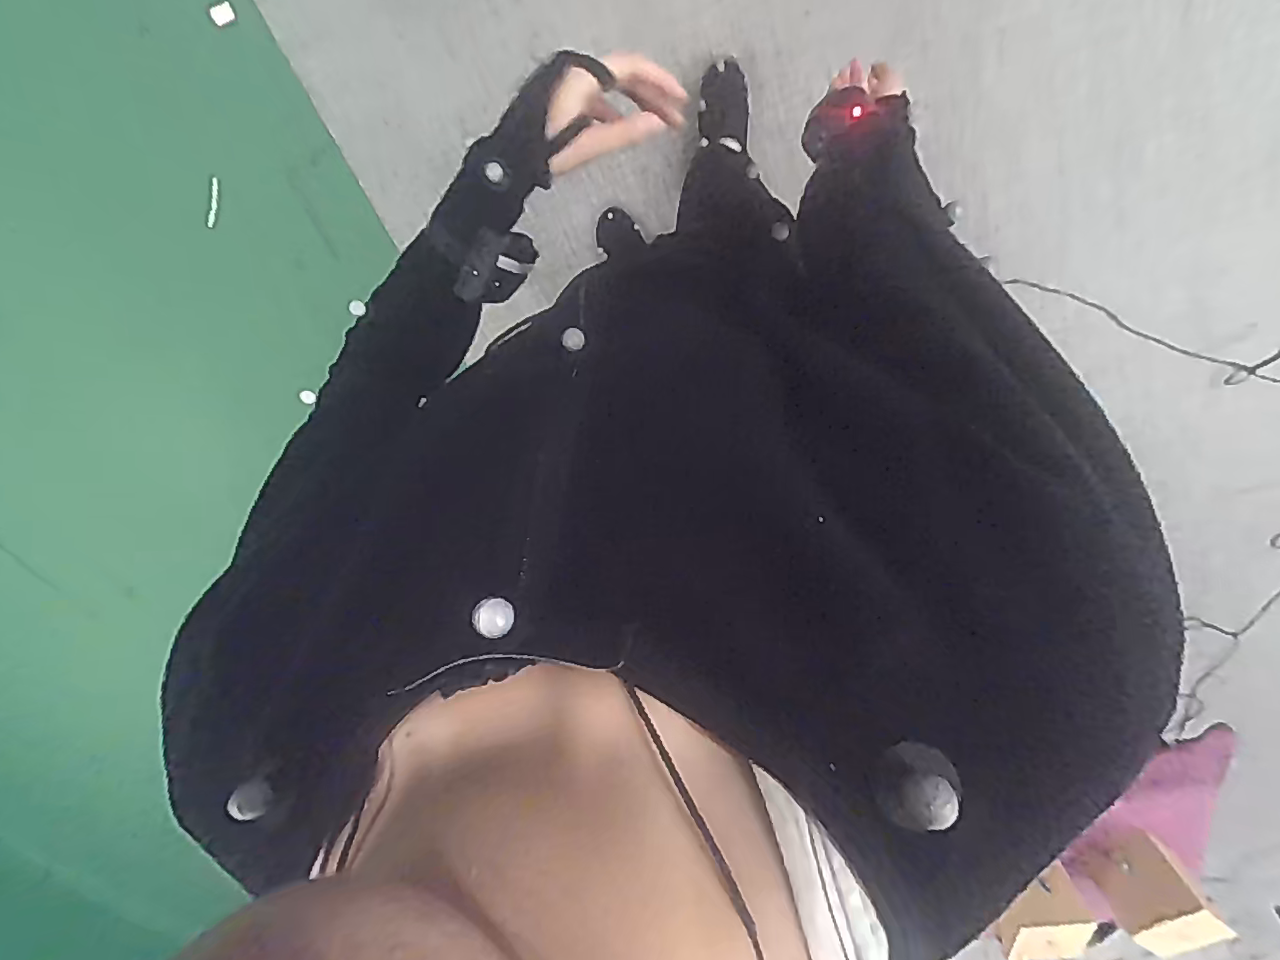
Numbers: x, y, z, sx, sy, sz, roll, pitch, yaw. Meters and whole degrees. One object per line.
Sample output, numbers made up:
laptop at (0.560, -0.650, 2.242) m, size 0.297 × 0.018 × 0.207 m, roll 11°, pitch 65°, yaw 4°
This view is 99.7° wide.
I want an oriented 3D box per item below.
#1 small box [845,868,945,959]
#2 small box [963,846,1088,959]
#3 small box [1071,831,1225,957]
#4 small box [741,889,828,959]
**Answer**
small box at (0.629, 1.096, 1.327) m, size 0.168 × 0.176 × 0.179 m, roll -23°, pitch 117°, yaw 11°
small box at (0.897, 0.995, 1.279) m, size 0.168 × 0.176 × 0.179 m, roll -8°, pitch 120°, yaw 3°
small box at (1.173, 0.960, 1.260) m, size 0.179 × 0.176 × 0.168 m, roll 38°, pitch 112°, yaw -19°
small box at (0.368, 1.166, 1.360) m, size 0.179 × 0.176 × 0.168 m, roll -18°, pitch 118°, yaw 8°
